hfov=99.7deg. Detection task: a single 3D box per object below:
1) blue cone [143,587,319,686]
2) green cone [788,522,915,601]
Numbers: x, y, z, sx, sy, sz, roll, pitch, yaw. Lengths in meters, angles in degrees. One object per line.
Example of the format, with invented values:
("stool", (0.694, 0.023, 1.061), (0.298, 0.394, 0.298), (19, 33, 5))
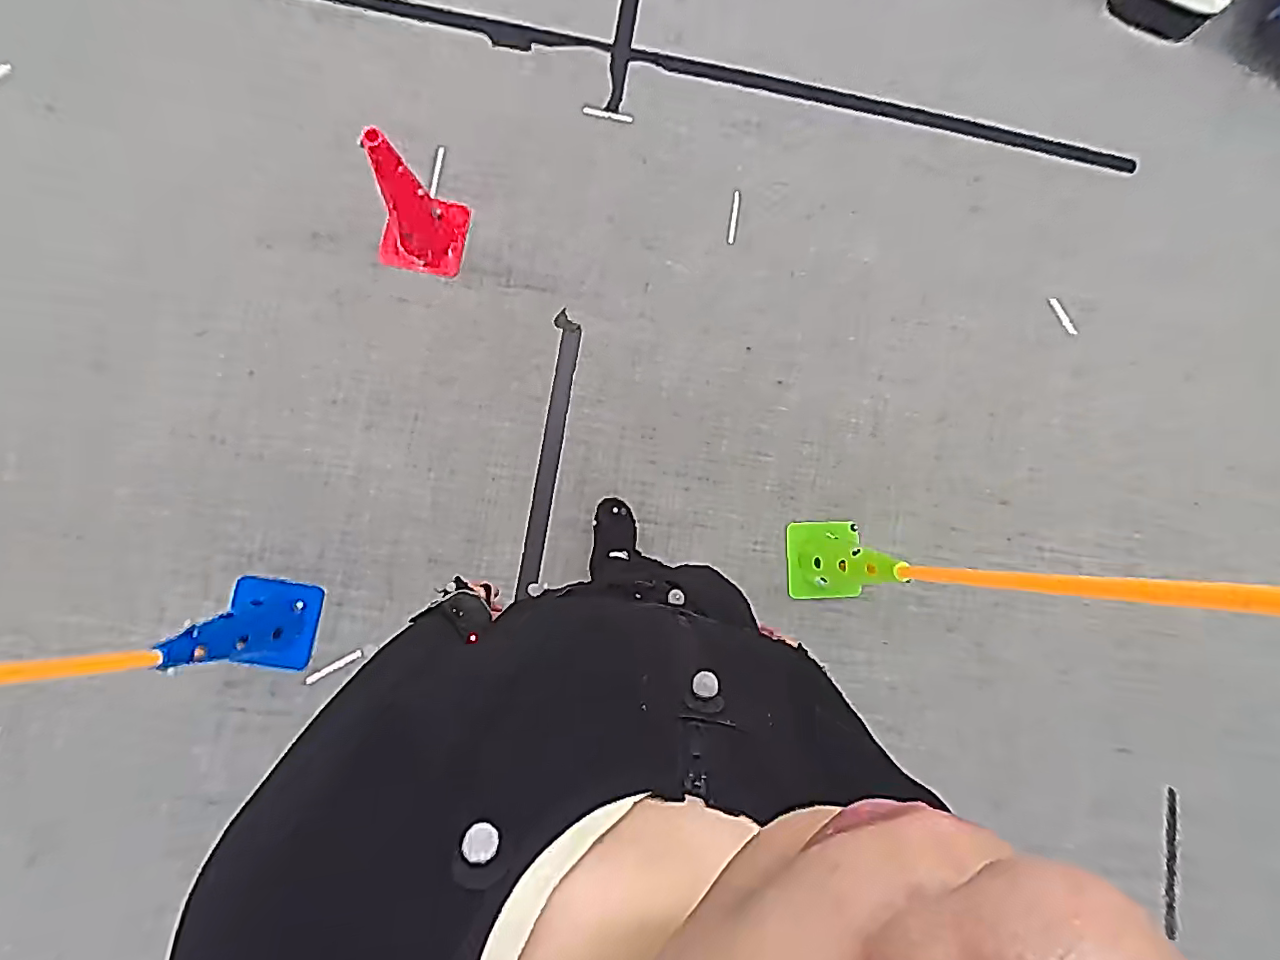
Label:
("blue cone", (-0.845, 0.339, 1.102), (0.193, 0.380, 0.192), (12, 84, -5))
("green cone", (0.506, 0.202, 1.249), (0.200, 0.368, 0.202), (-2, 87, -6))
